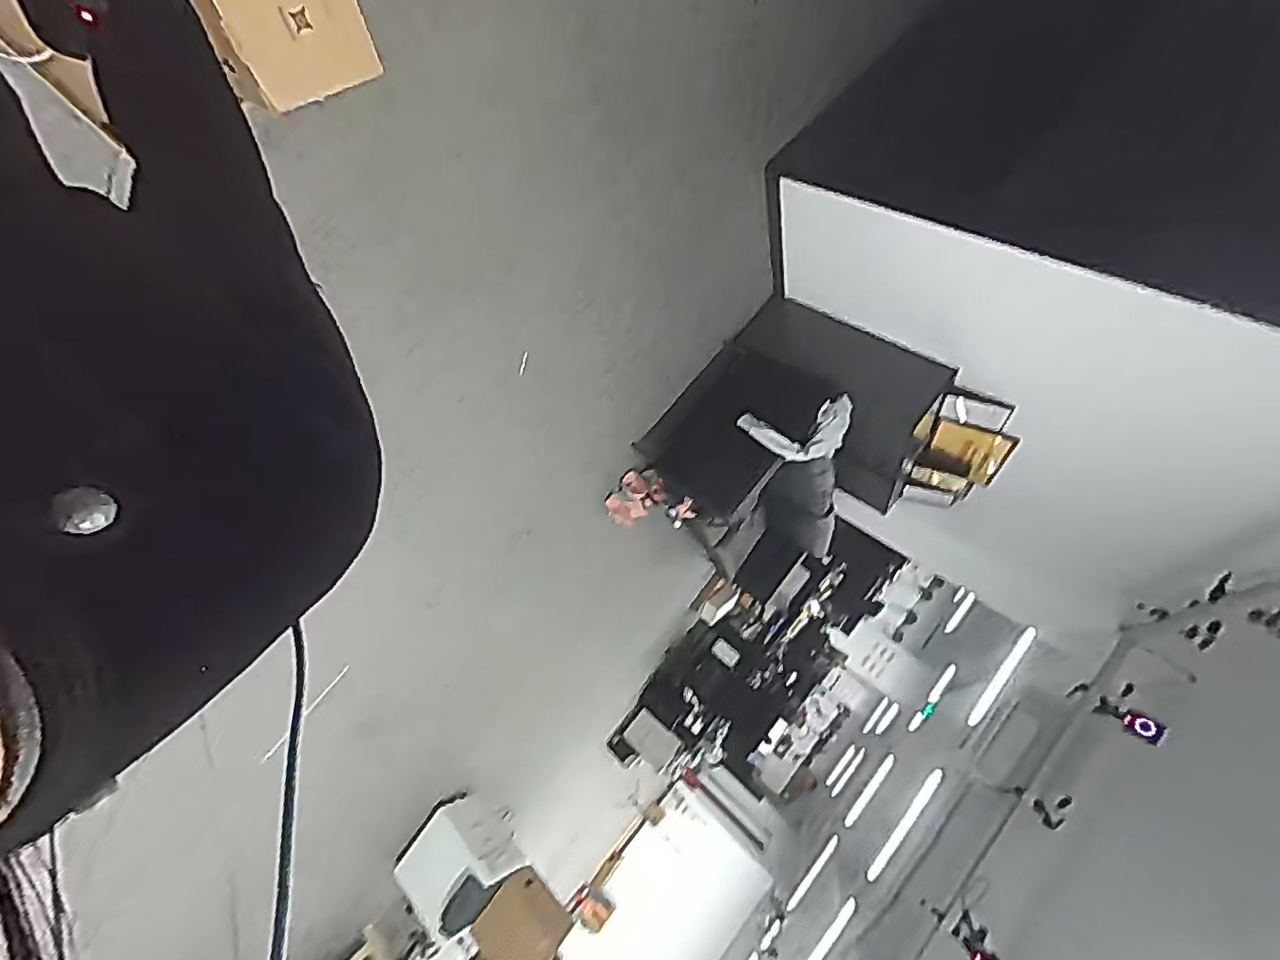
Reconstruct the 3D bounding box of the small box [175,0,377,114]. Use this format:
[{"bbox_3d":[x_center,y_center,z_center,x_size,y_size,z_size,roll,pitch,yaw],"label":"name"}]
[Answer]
[{"bbox_3d":[-0.506,-0.632,0.733,0.179,0.176,0.168,-41,151,-23],"label":"small box"}]
